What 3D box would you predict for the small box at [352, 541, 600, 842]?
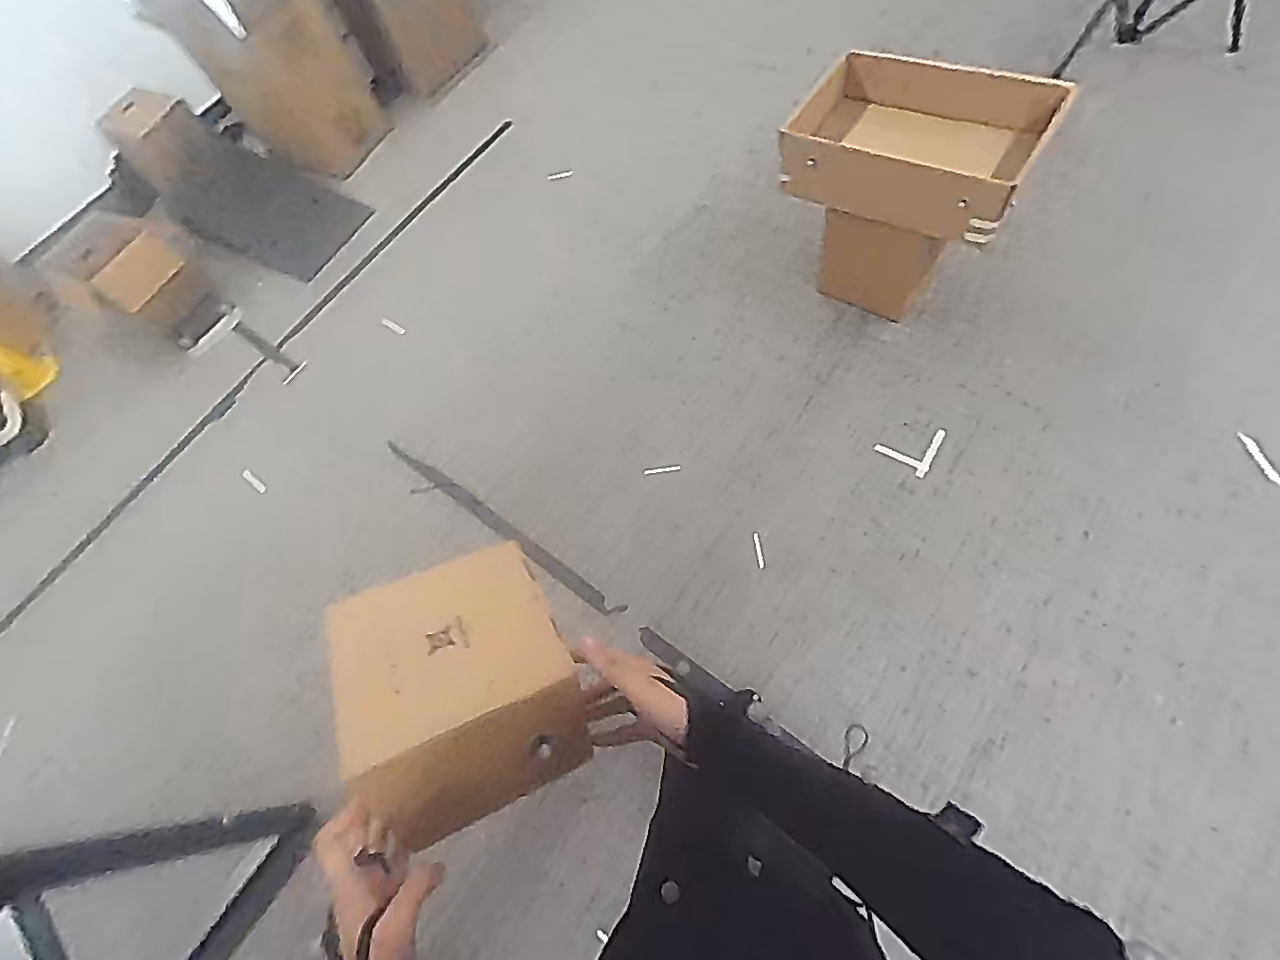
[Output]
[{"bbox_3d":[-0.145,0.192,0.506,0.179,0.176,0.168,-18,43,-19],"label":"small box"}]
